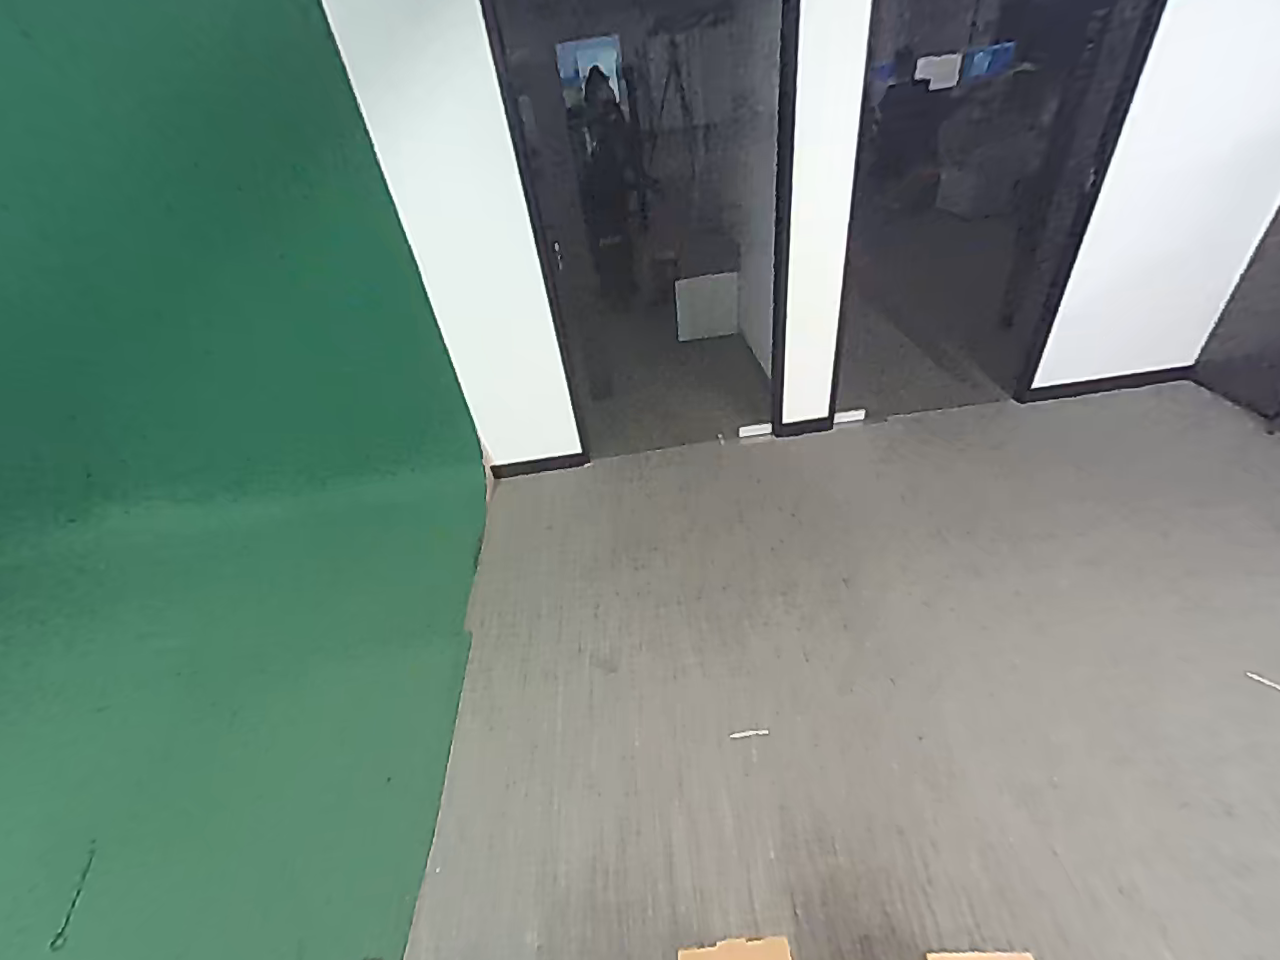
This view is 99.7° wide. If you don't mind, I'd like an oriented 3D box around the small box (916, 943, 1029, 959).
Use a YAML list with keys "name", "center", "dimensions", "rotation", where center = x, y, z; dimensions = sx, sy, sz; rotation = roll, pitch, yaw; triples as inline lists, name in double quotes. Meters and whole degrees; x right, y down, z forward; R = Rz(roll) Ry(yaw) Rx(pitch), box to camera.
- name: "small box"
  center: [0.550, 0.878, 0.867]
  dimensions: [0.168, 0.176, 0.179]
  rotation: [-5, 38, 5]

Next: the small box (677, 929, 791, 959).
- name: "small box"
  center: [0.151, 0.793, 0.783]
  dimensions: [0.168, 0.176, 0.179]
  rotation: [-10, 38, 1]
